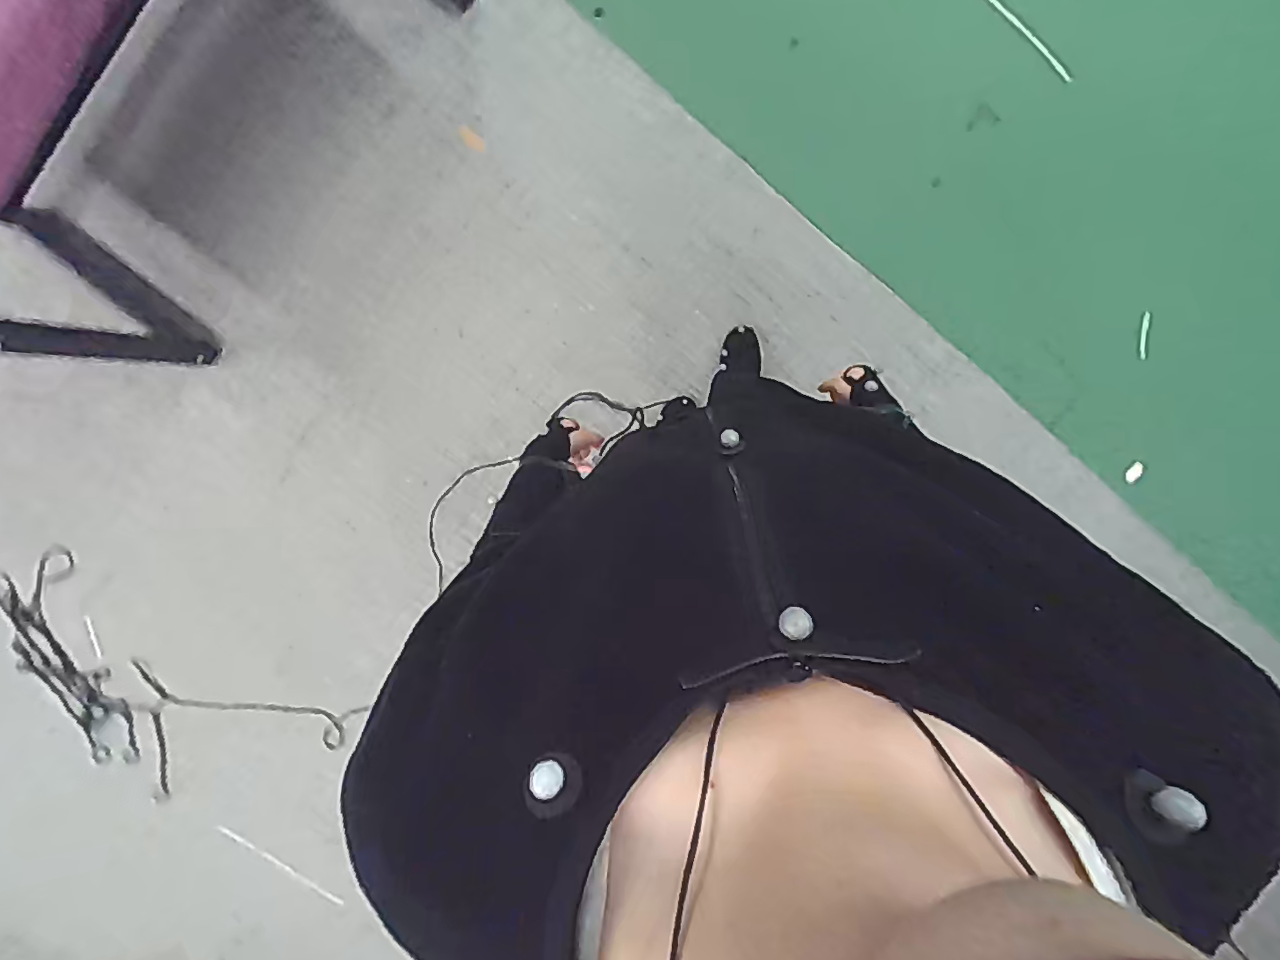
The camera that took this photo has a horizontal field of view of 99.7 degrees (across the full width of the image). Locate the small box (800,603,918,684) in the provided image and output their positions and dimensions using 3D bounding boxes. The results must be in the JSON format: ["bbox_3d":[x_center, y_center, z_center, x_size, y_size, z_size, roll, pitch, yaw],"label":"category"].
[{"bbox_3d":[0.503,0.421,1.276,0.168,0.176,0.179,36,100,-2],"label":"small box"}]
